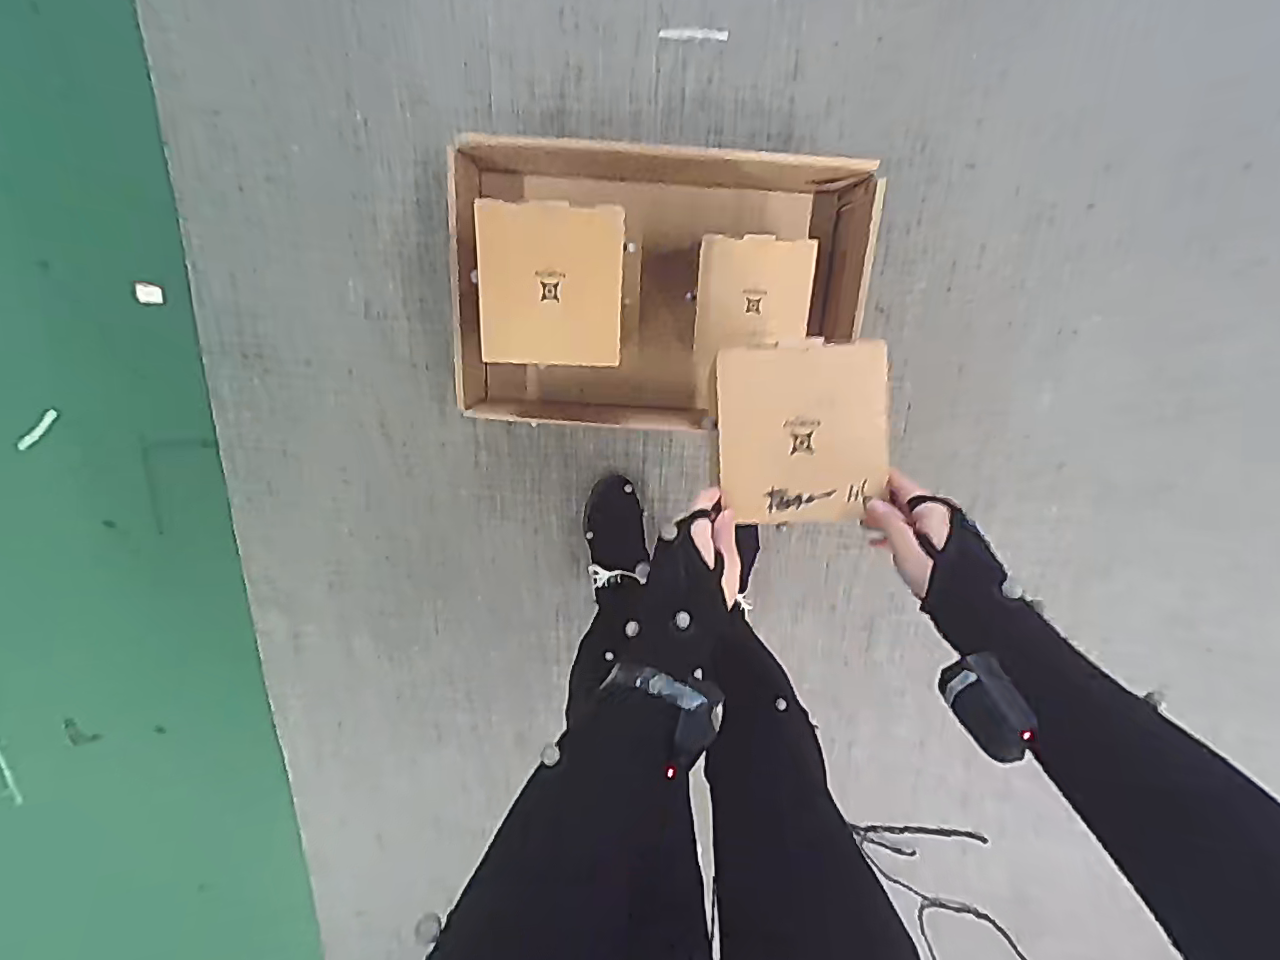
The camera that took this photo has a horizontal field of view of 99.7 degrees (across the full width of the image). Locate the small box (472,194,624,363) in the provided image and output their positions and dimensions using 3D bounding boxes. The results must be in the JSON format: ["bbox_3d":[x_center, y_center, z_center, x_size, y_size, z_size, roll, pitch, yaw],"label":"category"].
[{"bbox_3d":[-0.107,-0.249,0.691,0.168,0.176,0.179,2,107,-2],"label":"small box"}]

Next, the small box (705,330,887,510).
[{"bbox_3d":[0.161,-0.061,0.606,0.168,0.176,0.179,-1,93,4],"label":"small box"}]
